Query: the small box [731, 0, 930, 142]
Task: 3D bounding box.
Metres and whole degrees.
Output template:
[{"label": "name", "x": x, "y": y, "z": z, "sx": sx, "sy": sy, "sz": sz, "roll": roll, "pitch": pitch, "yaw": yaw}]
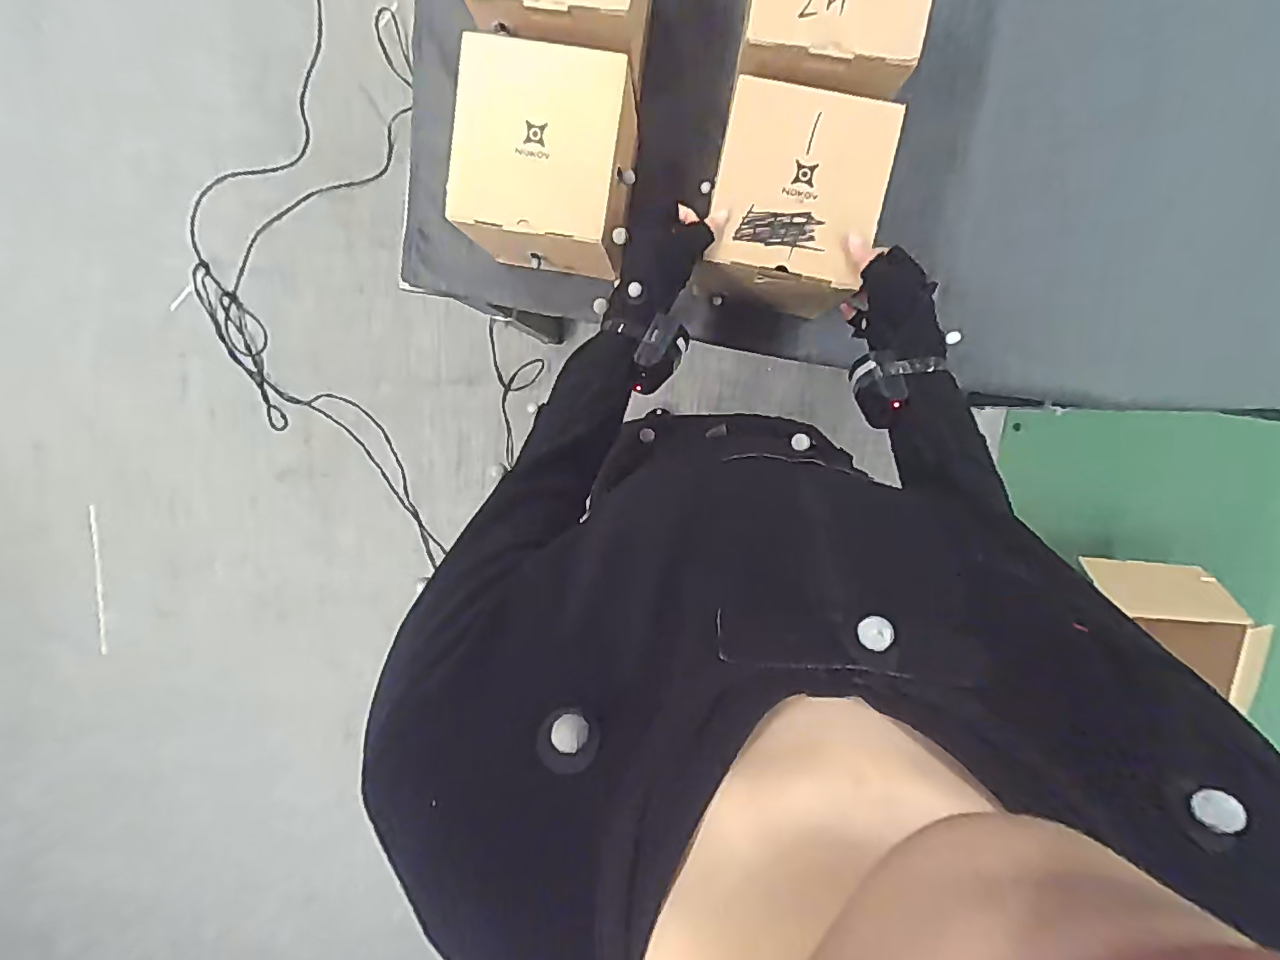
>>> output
[{"label": "small box", "x": 0.198, "y": -0.503, "z": 0.578, "sx": 0.168, "sy": 0.176, "sz": 0.179, "roll": 10, "pitch": 98, "yaw": 2}]
